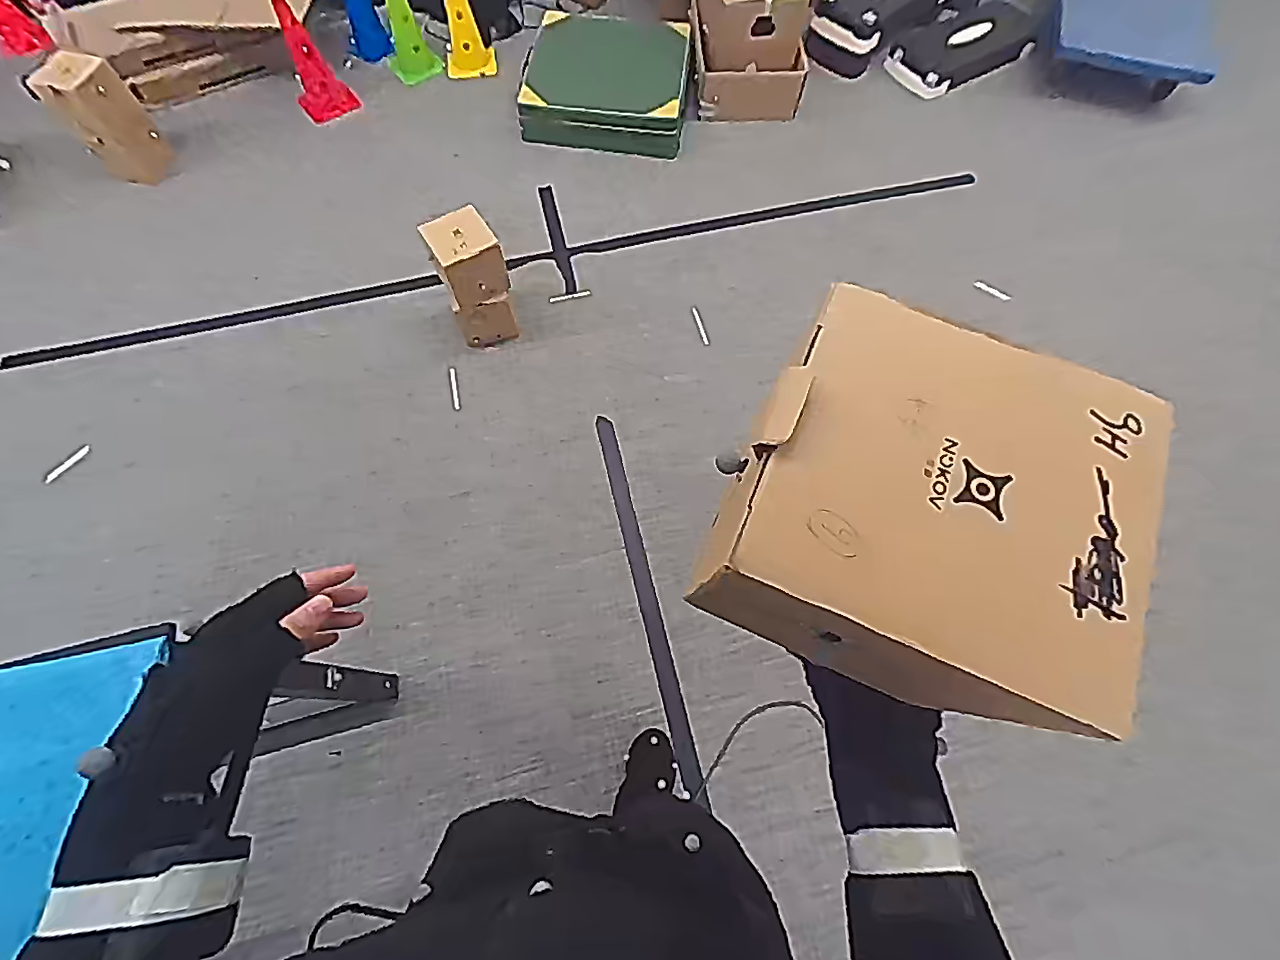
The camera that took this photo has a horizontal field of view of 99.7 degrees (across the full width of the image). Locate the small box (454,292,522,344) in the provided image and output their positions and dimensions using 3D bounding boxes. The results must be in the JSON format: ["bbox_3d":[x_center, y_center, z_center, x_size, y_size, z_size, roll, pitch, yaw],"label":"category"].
[{"bbox_3d":[-0.475,-0.544,1.685,0.168,0.176,0.179,-15,66,-7],"label":"small box"}]

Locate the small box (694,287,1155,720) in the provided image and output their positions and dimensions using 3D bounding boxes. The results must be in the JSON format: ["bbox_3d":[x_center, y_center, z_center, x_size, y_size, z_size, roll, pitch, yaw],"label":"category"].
[{"bbox_3d":[0.142,0.024,0.326,0.179,0.176,0.168,20,73,5],"label":"small box"}]

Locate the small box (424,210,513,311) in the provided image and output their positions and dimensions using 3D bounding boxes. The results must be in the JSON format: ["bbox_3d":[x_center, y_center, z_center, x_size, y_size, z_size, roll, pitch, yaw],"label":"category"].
[{"bbox_3d":[-0.481,-0.619,1.538,0.168,0.176,0.179,-27,71,-10],"label":"small box"}]
